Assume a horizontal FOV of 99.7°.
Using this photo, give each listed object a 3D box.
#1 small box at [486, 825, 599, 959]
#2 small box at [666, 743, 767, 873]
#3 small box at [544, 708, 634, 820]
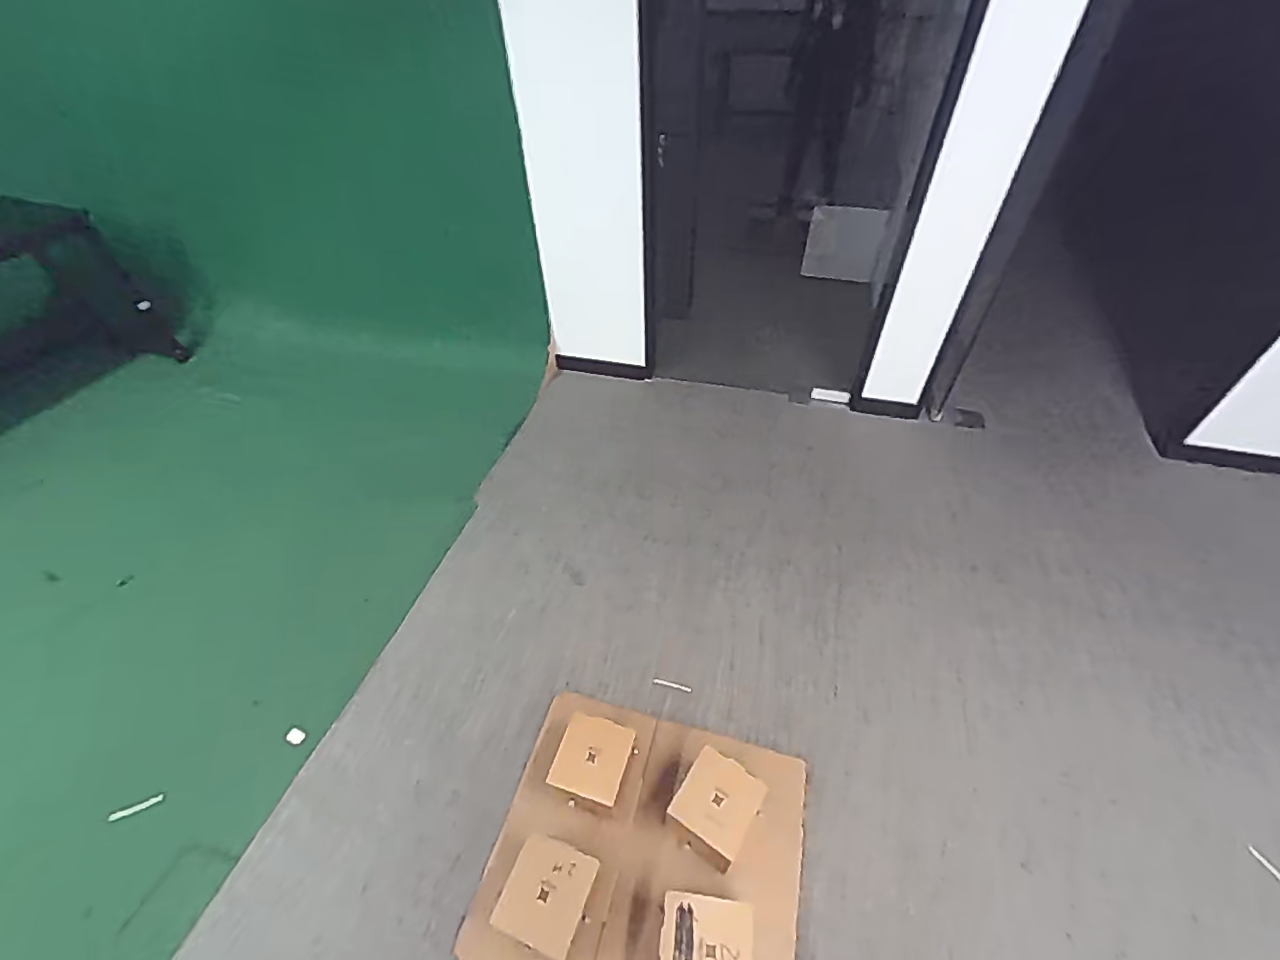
[{"bbox_3d":[-0.193,0.875,1.139,0.168,0.176,0.179,16,48,15],"label":"small box"},{"bbox_3d":[0.168,0.756,1.246,0.168,0.176,0.179,26,51,25],"label":"small box"},{"bbox_3d":[-0.115,0.695,1.317,0.168,0.176,0.179,13,46,13],"label":"small box"}]
